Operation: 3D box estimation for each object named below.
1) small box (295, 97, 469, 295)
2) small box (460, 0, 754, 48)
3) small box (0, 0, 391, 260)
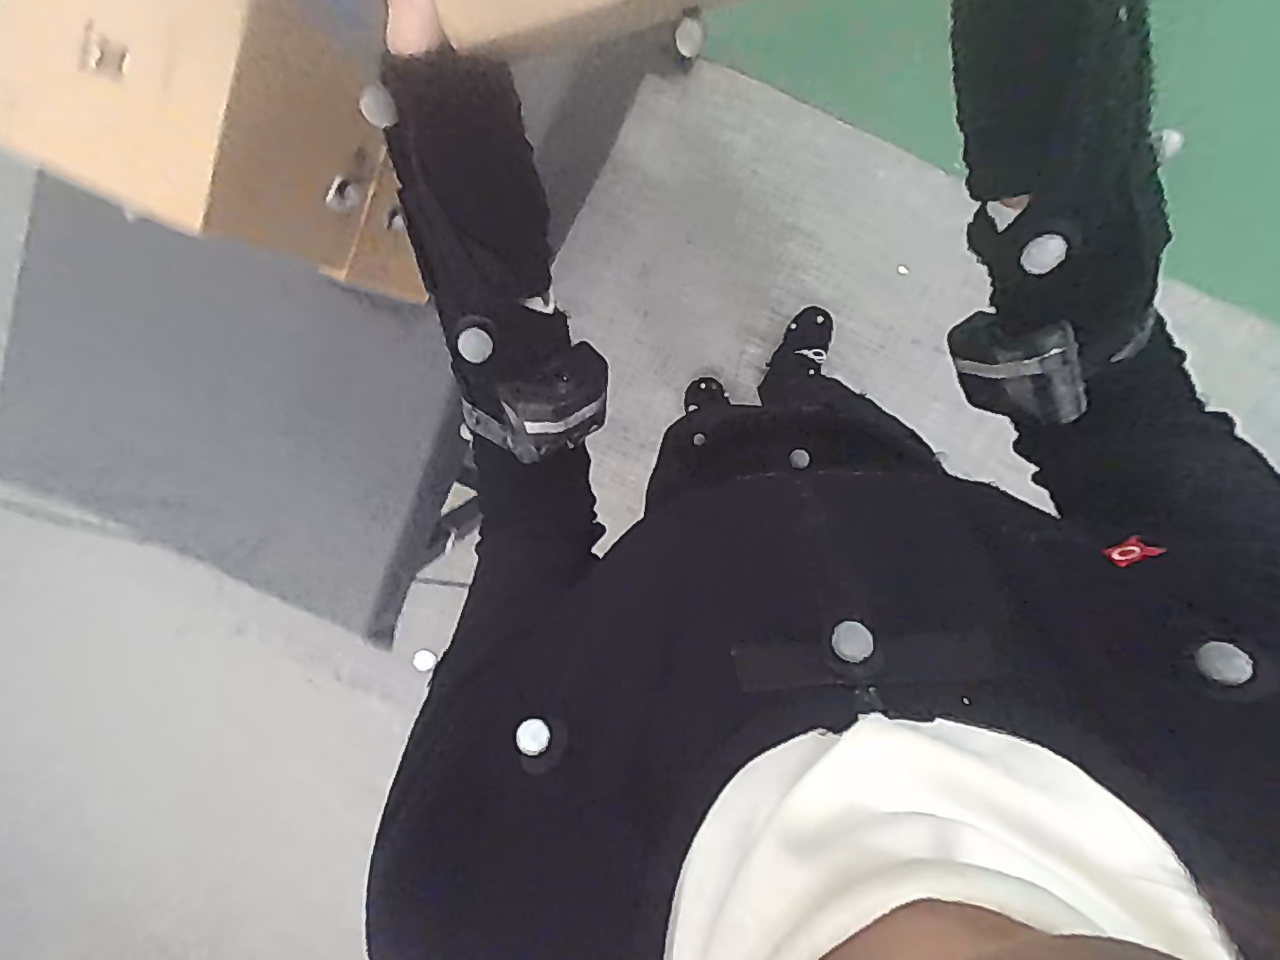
[{"bbox_3d":[-0.317,-0.327,0.609,0.168,0.176,0.179,25,102,0],"label":"small box"},{"bbox_3d":[0.012,-0.268,0.181,0.179,0.176,0.168,-10,126,6],"label":"small box"},{"bbox_3d":[-0.341,-0.296,0.434,0.179,0.176,0.168,23,104,0],"label":"small box"}]
